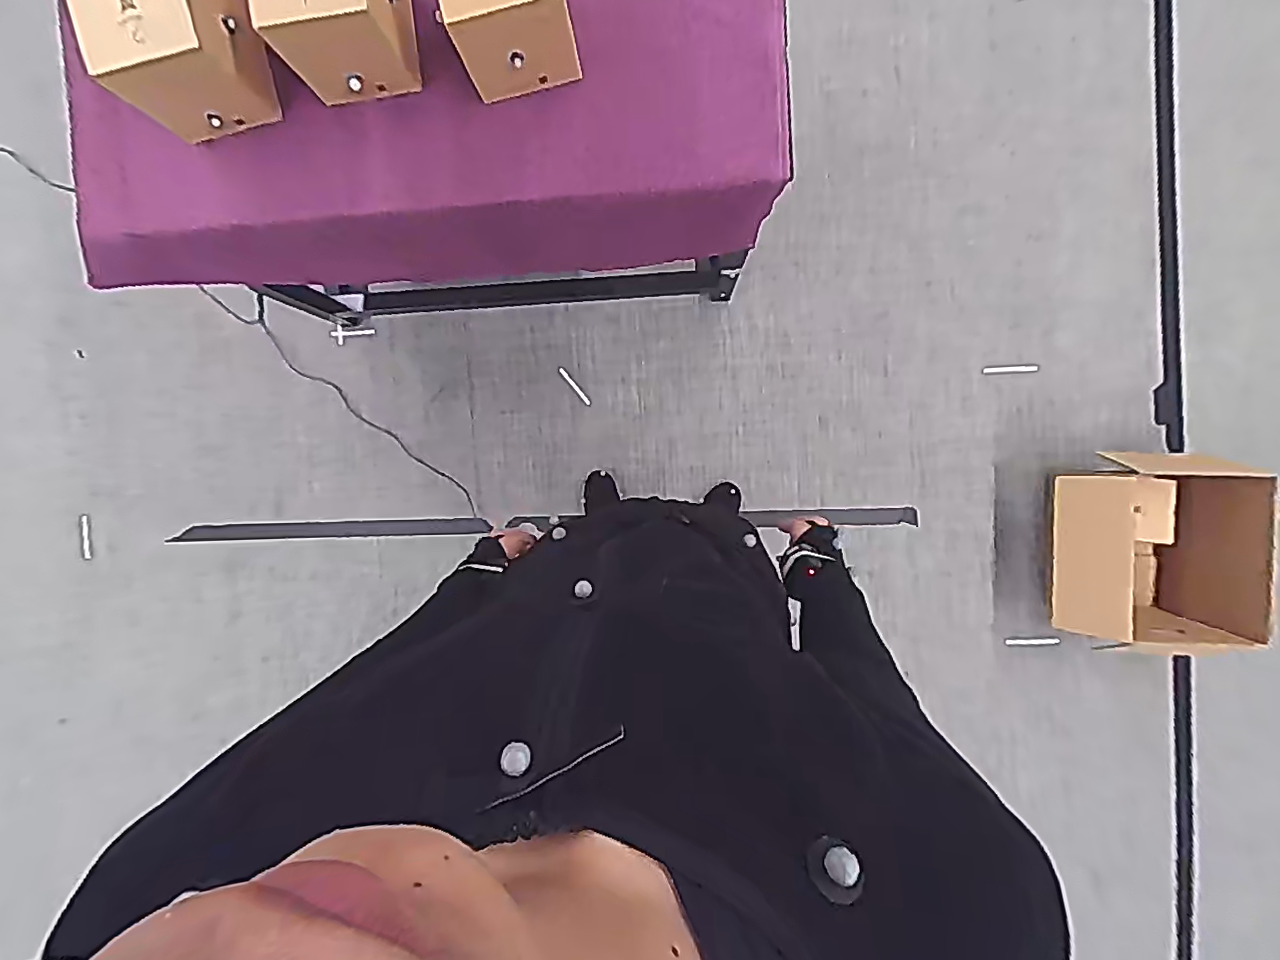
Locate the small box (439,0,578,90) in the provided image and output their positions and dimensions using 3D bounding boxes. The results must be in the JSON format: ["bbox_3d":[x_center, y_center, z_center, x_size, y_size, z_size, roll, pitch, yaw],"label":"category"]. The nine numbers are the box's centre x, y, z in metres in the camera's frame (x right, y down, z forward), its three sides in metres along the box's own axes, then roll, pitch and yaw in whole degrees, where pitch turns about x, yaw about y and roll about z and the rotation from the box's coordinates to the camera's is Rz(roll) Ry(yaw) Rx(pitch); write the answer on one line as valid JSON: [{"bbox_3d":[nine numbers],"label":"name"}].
[{"bbox_3d":[-0.195,-0.714,0.791,0.168,0.176,0.179,-12,92,3],"label":"small box"}]

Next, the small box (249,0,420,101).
[{"bbox_3d":[-0.449,-0.713,0.803,0.168,0.176,0.179,-7,93,3],"label":"small box"}]
